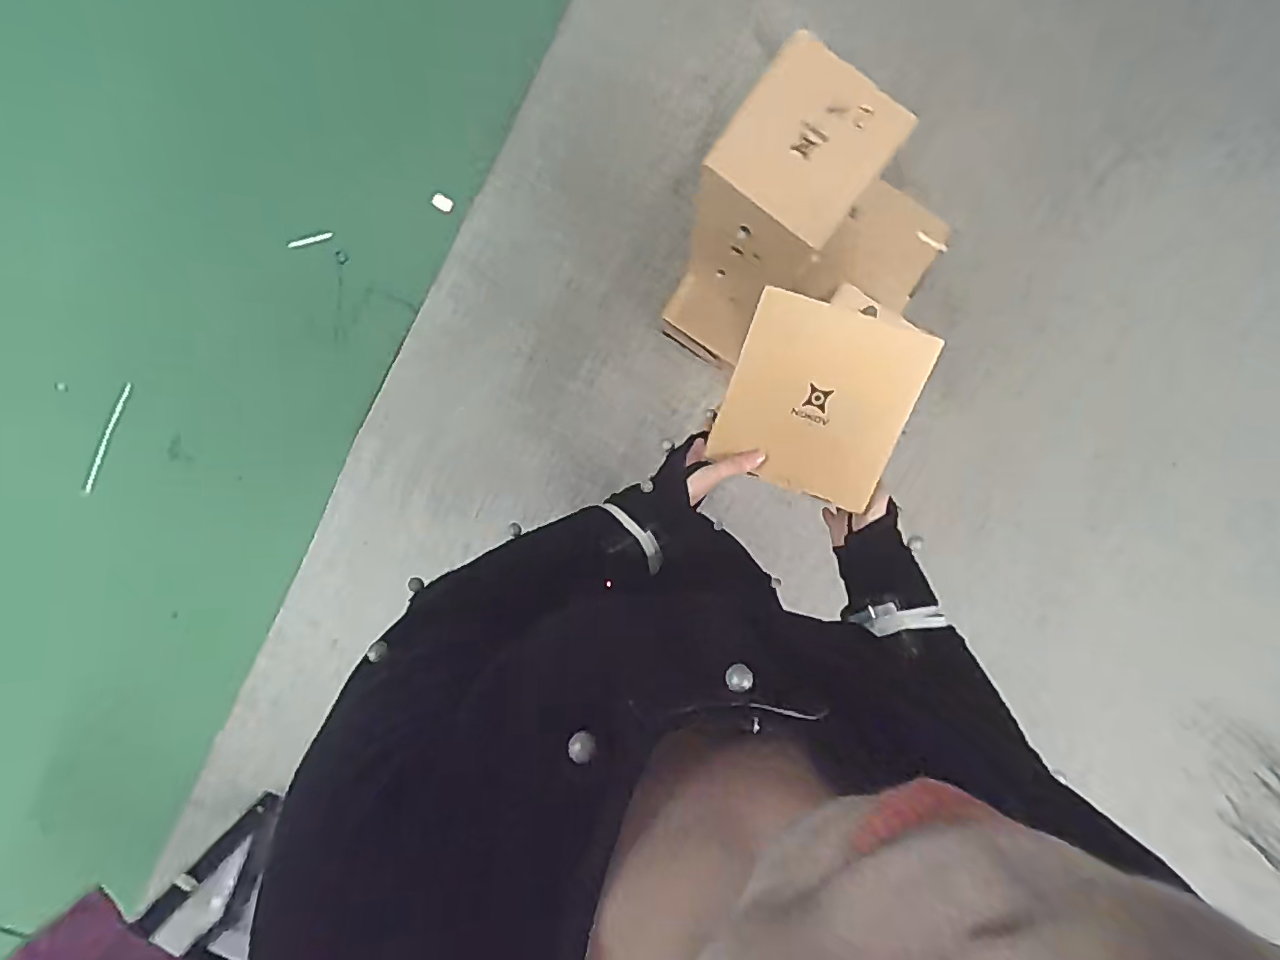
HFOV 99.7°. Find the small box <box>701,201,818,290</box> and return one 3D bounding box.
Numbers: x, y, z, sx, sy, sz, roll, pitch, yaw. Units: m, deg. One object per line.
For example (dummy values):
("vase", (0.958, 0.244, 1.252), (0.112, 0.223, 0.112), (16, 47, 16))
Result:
("small box", (0.207, -0.412, 0.842), (0.179, 0.176, 0.168), (32, 97, 2))

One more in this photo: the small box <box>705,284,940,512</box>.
("small box", (0.179, -0.094, 0.580), (0.168, 0.176, 0.179), (19, 109, 7))

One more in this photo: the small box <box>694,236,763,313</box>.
("small box", (0.211, -0.439, 1.007), (0.168, 0.176, 0.179), (33, 97, -1))

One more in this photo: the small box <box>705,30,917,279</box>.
("small box", (0.196, -0.385, 0.682), (0.168, 0.176, 0.179), (38, 97, -2))
